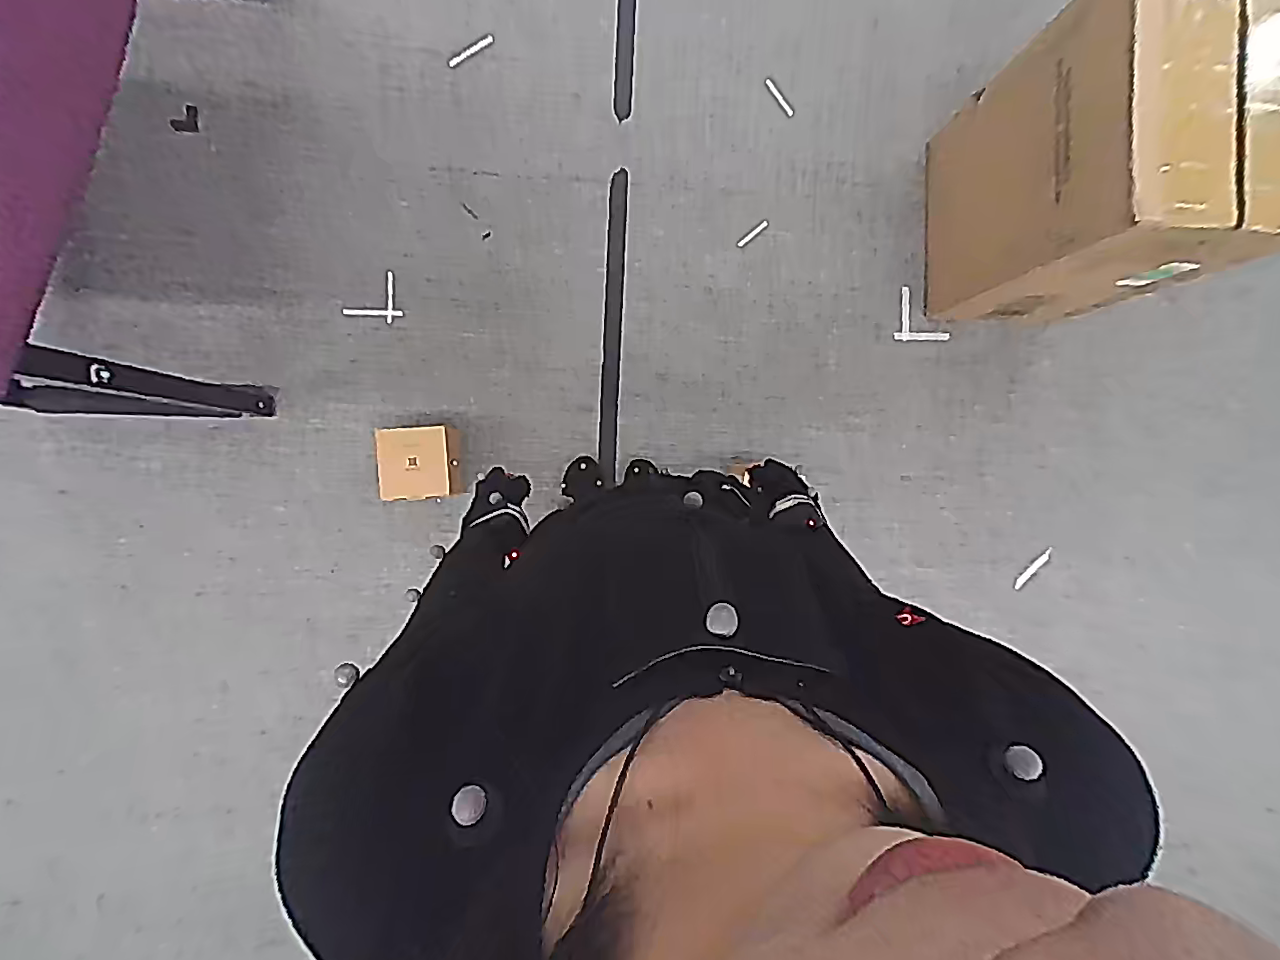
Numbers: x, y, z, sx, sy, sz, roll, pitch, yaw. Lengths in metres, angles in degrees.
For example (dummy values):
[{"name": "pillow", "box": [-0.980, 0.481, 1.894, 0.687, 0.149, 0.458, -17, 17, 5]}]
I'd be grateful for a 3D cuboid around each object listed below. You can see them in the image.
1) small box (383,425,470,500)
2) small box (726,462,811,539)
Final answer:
[{"name": "small box", "box": [-0.545, -0.046, 1.401, 0.168, 0.176, 0.179, -5, 91, -6]}, {"name": "small box", "box": [0.342, 0.051, 1.475, 0.168, 0.176, 0.179, 11, 91, -5]}]
